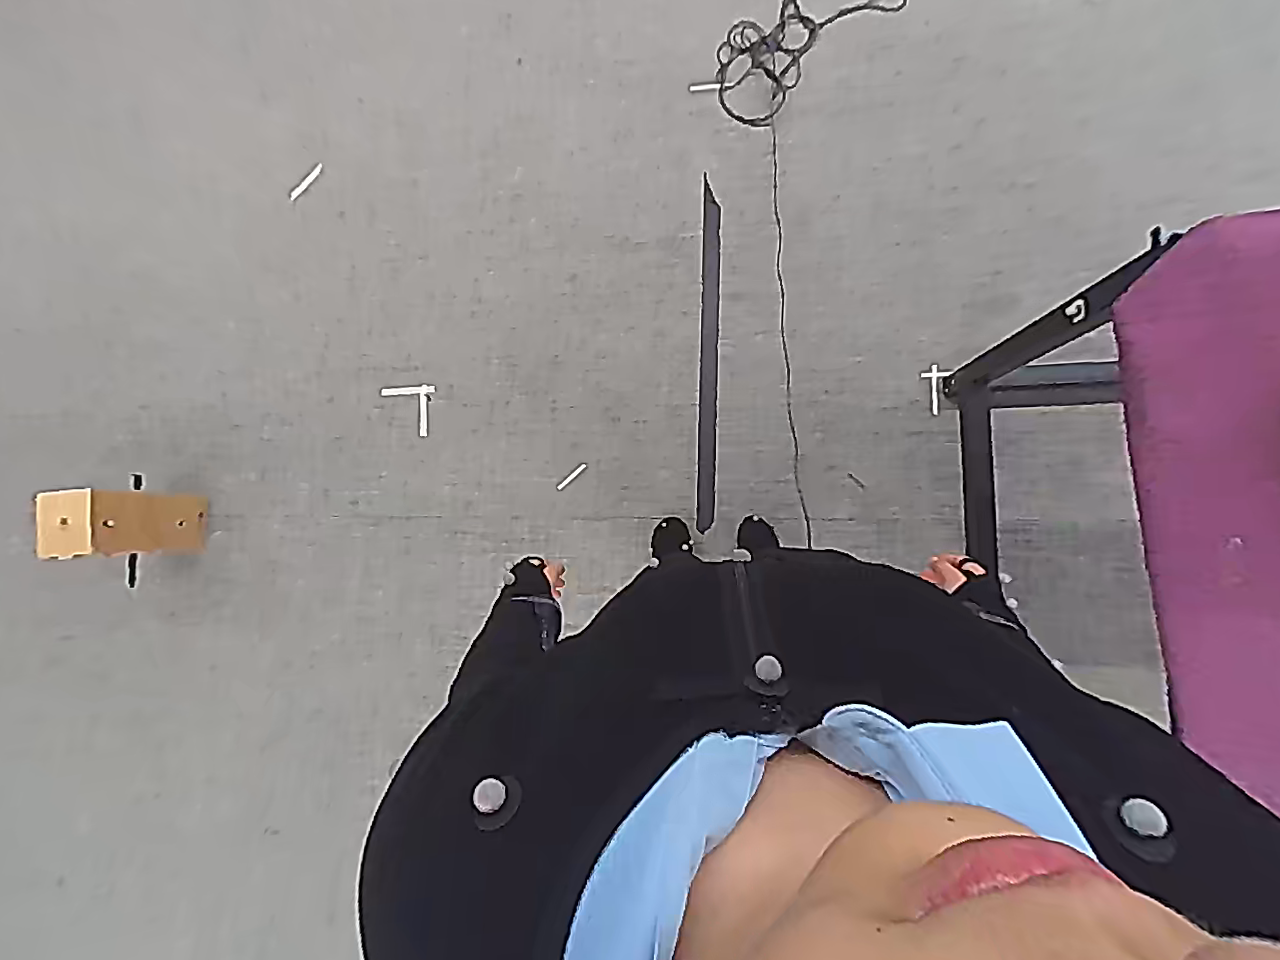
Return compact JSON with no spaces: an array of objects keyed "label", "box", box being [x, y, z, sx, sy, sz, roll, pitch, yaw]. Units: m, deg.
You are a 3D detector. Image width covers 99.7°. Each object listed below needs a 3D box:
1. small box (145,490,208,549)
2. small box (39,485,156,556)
[{"label":"small box","box":[-1.471,0.117,1.650,0.179,0.176,0.168,3,86,8]},{"label":"small box","box":[-1.483,0.113,1.487,0.168,0.176,0.179,-6,86,7]}]
